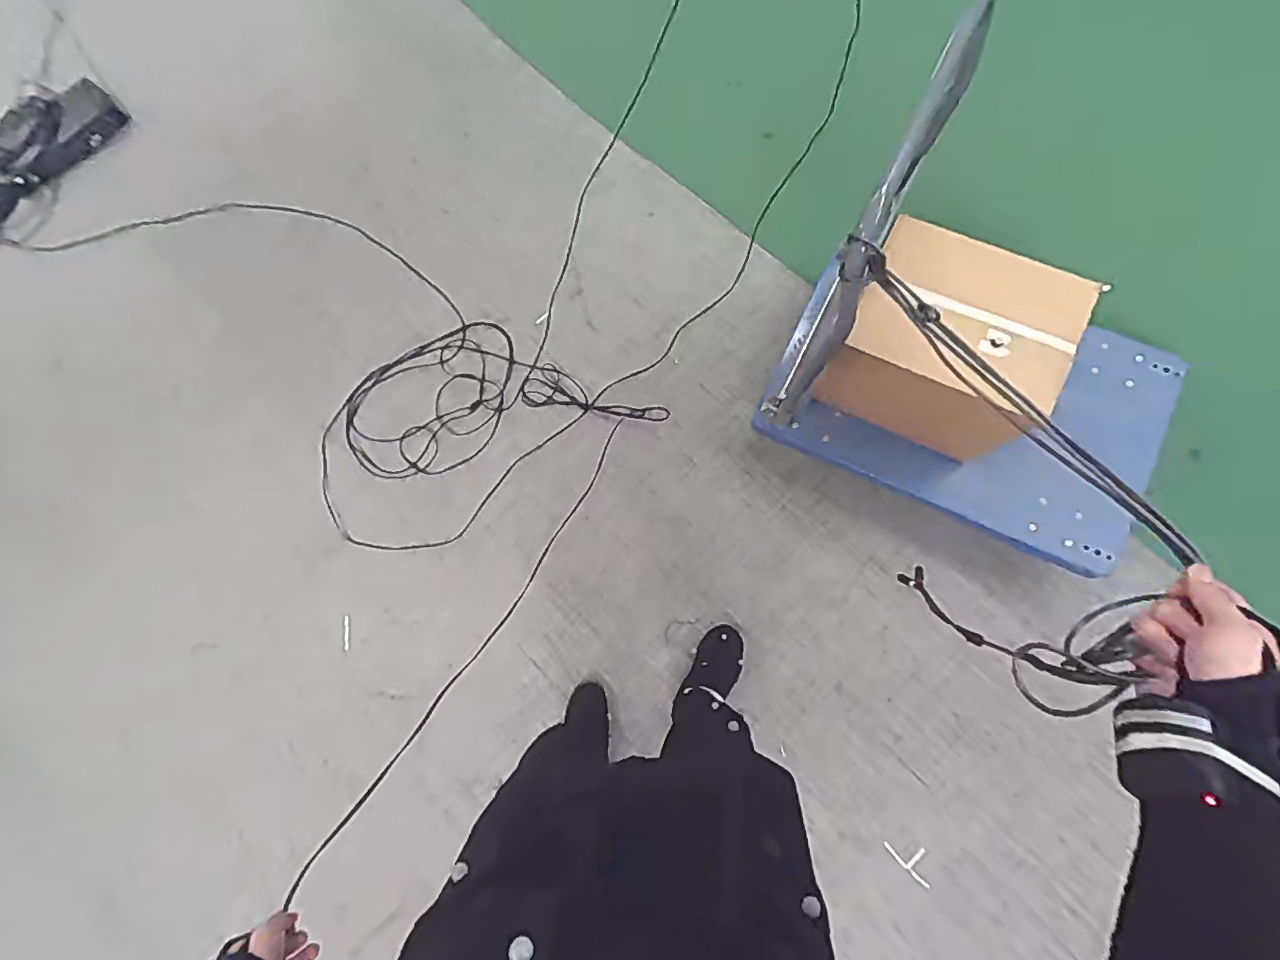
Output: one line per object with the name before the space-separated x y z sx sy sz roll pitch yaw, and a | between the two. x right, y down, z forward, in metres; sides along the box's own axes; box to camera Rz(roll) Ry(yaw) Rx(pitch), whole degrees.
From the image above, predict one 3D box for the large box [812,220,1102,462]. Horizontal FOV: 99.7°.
large box | 0.647 -0.282 1.179 0.408 0.320 0.320 25 82 9
